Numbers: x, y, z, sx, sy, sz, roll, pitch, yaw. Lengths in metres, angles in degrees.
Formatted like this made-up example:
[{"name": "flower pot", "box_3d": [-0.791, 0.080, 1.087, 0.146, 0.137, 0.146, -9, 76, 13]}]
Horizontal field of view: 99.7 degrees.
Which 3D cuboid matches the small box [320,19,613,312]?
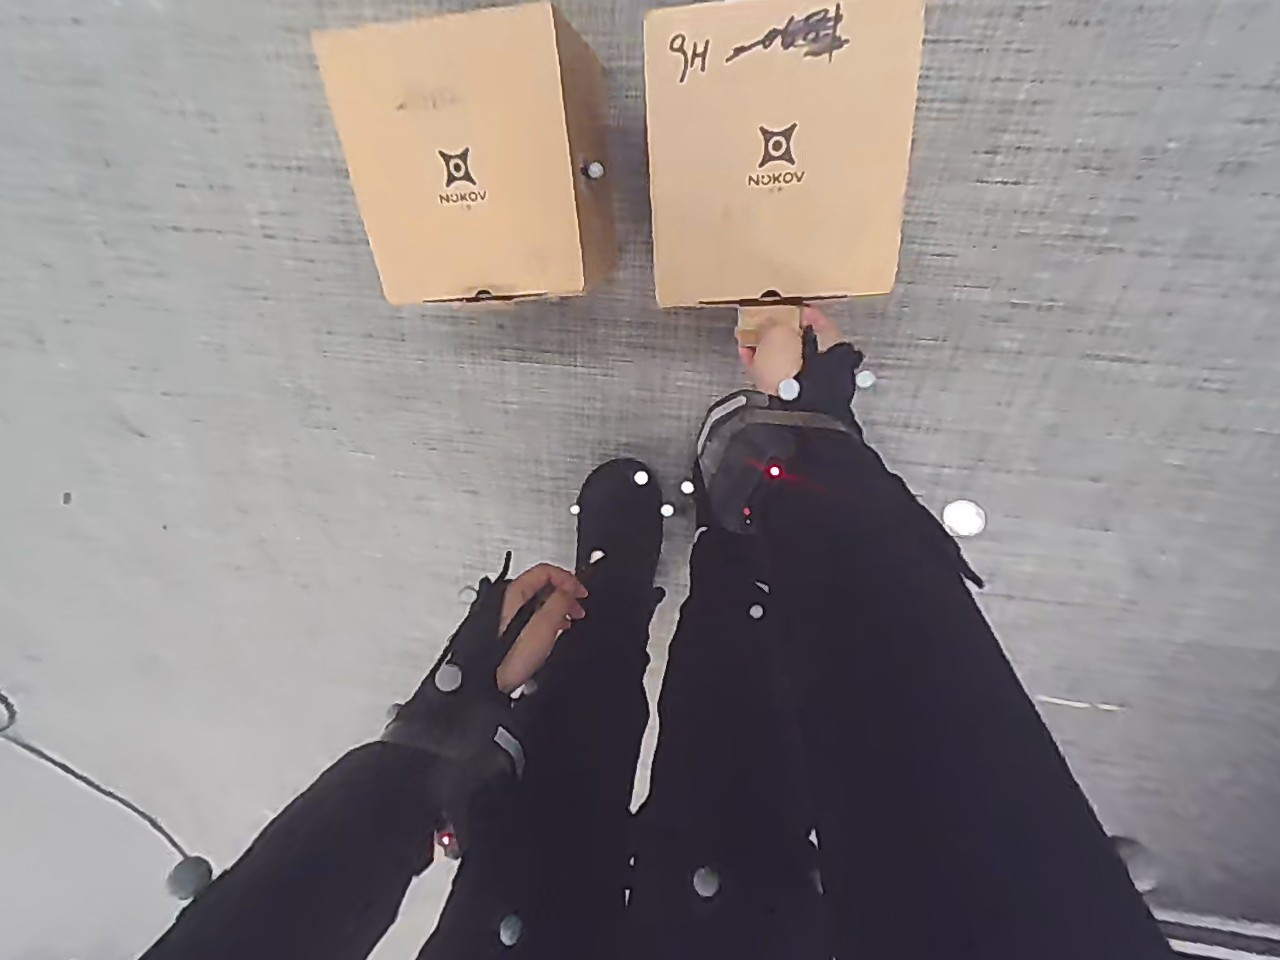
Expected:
[{"name": "small box", "box_3d": [-0.122, -0.253, 0.465, 0.168, 0.176, 0.179, -2, 116, 8]}]
